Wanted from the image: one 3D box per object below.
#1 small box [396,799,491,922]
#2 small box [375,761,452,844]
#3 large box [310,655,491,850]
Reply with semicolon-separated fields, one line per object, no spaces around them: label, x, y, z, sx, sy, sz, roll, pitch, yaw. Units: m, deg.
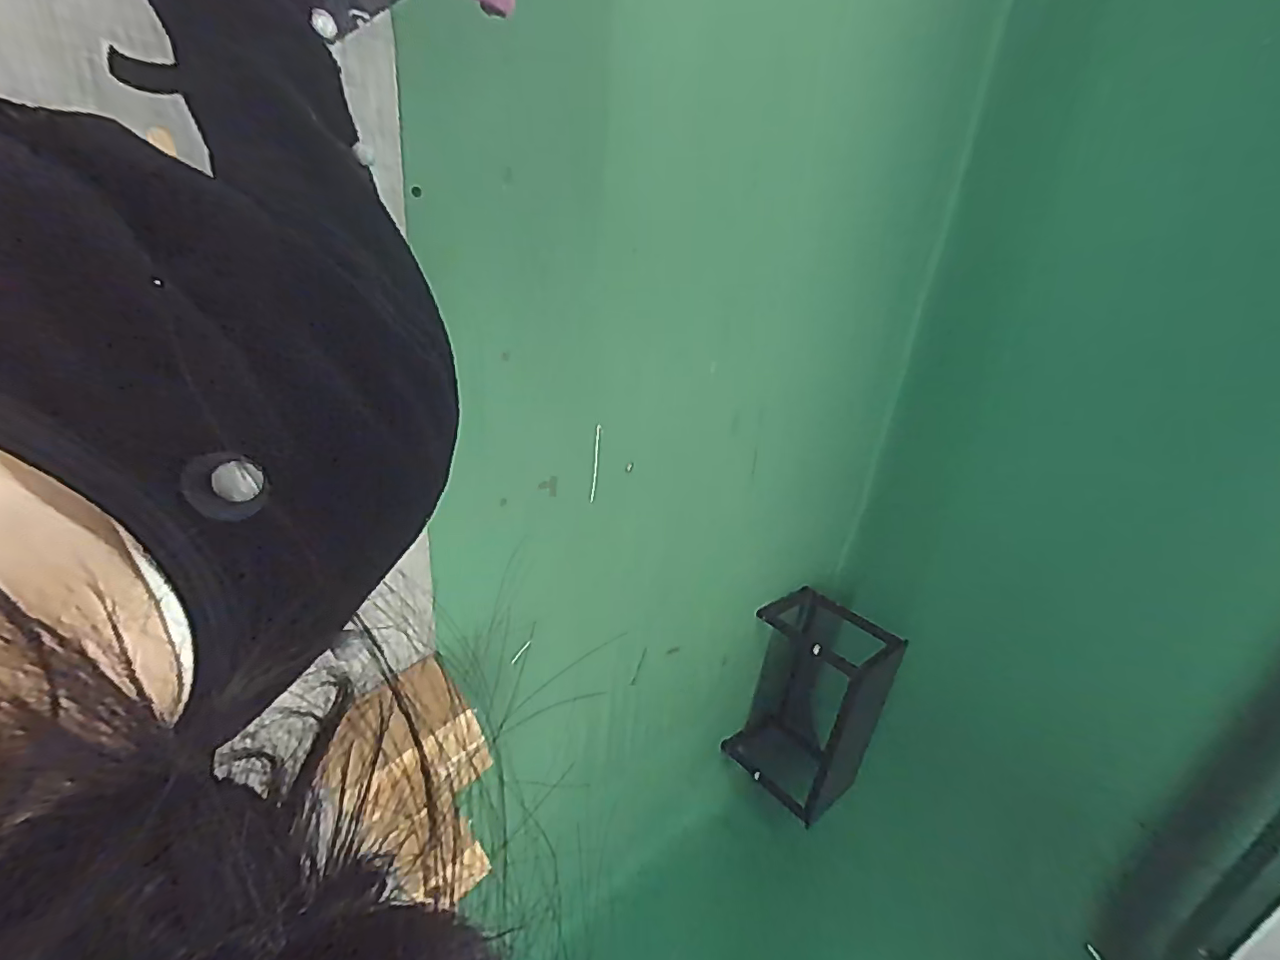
small box;-0.534;1.016;1.455;0.179;0.176;0.168;-29;129;-31
small box;-0.639;0.955;1.565;0.168;0.176;0.179;-28;128;-32
large box;-0.767;0.863;1.757;0.408;0.320;0.320;-30;130;-32
